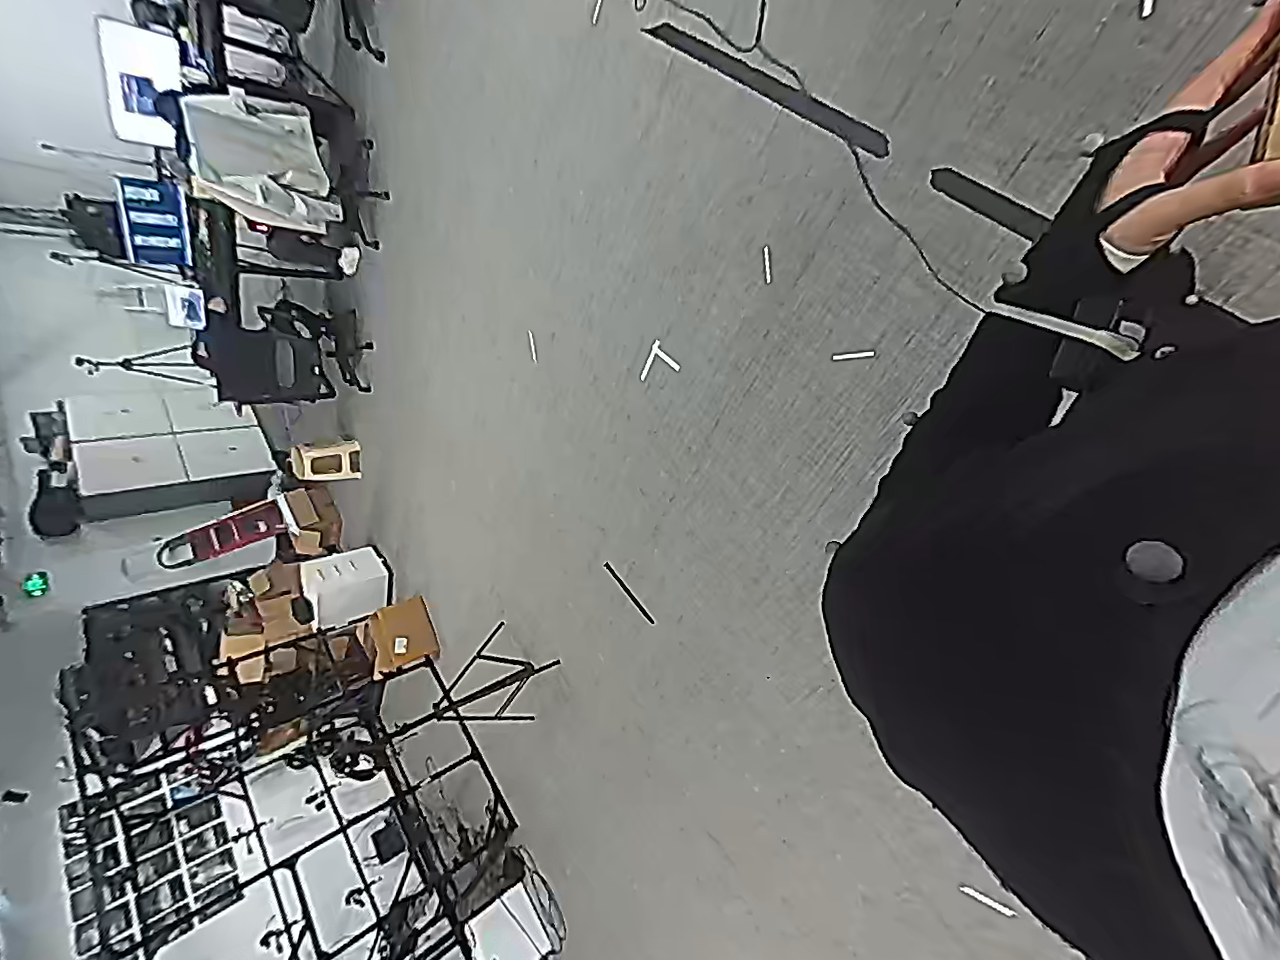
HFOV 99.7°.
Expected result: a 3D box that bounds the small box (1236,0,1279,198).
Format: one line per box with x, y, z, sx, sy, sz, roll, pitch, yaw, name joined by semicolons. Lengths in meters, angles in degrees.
0.448;-0.256;0.276;0.179;0.176;0.168;10;113;43;small box
